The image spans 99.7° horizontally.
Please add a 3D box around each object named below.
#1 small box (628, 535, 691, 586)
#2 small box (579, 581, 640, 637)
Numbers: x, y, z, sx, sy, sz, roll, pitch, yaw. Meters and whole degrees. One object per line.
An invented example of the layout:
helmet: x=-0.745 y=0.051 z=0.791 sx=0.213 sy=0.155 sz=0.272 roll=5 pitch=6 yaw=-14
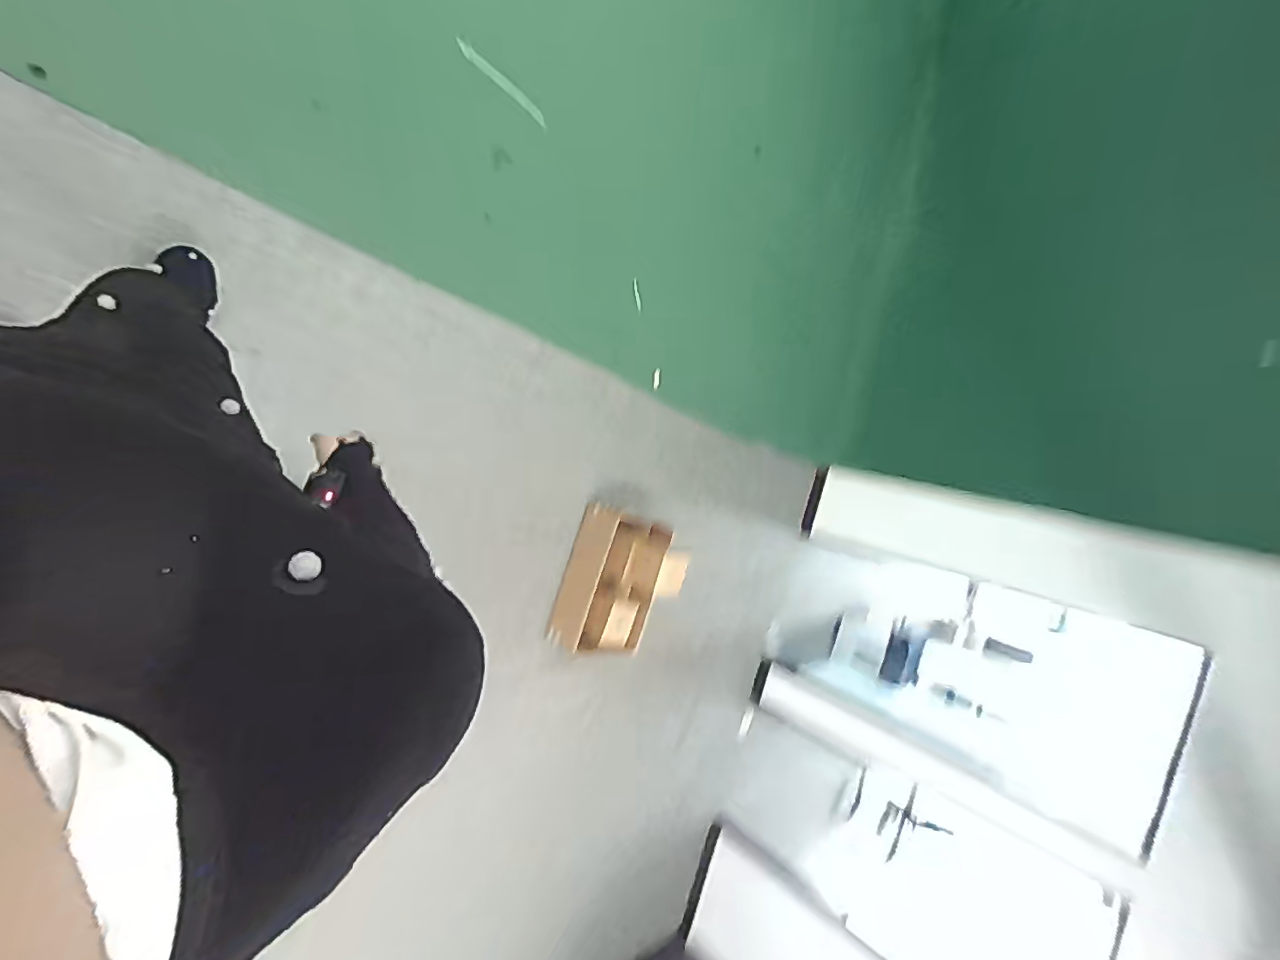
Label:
small box: x=0.078 y=0.330 z=2.222 sx=0.179 sy=0.176 sz=0.168 roll=12 pitch=95 yaw=-48
small box: x=-0.135 y=0.552 z=2.314 sx=0.168 sy=0.176 sz=0.179 roll=23 pitch=86 yaw=-48
